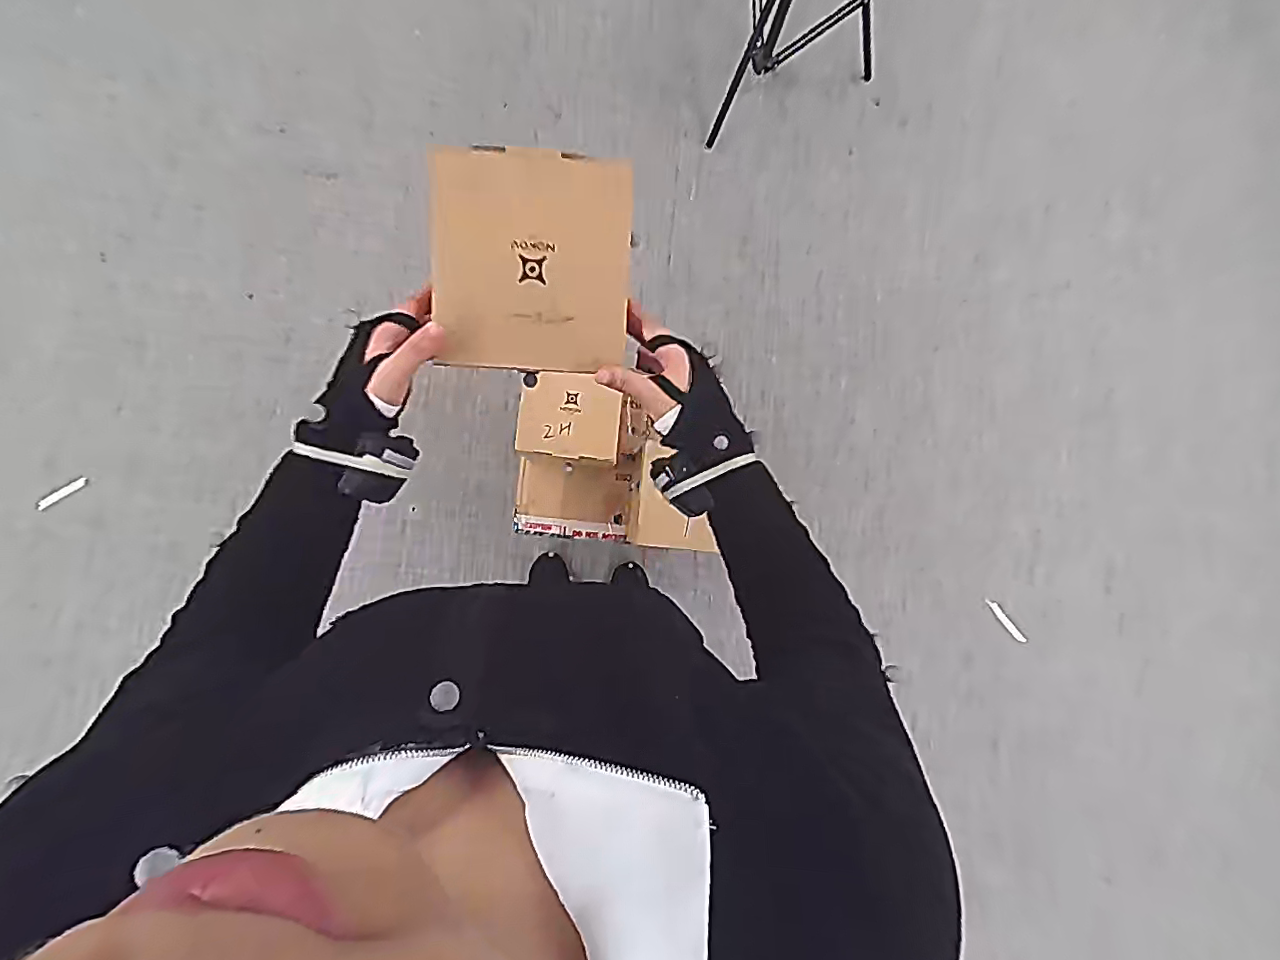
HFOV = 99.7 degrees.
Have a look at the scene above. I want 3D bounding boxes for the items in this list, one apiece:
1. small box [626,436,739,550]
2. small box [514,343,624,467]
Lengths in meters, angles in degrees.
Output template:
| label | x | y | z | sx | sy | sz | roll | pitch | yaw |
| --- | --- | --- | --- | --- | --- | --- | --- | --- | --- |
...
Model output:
| label | x | y | z | sx | sy | sz | roll | pitch | yaw |
| --- | --- | --- | --- | --- | --- | --- | --- | --- | --- |
| small box | 0.069 | 0.027 | 0.972 | 0.168 | 0.176 | 0.179 | 6 | 86 | -6 |
| small box | -0.121 | -0.125 | 0.966 | 0.168 | 0.176 | 0.179 | 6 | 85 | -3 |
